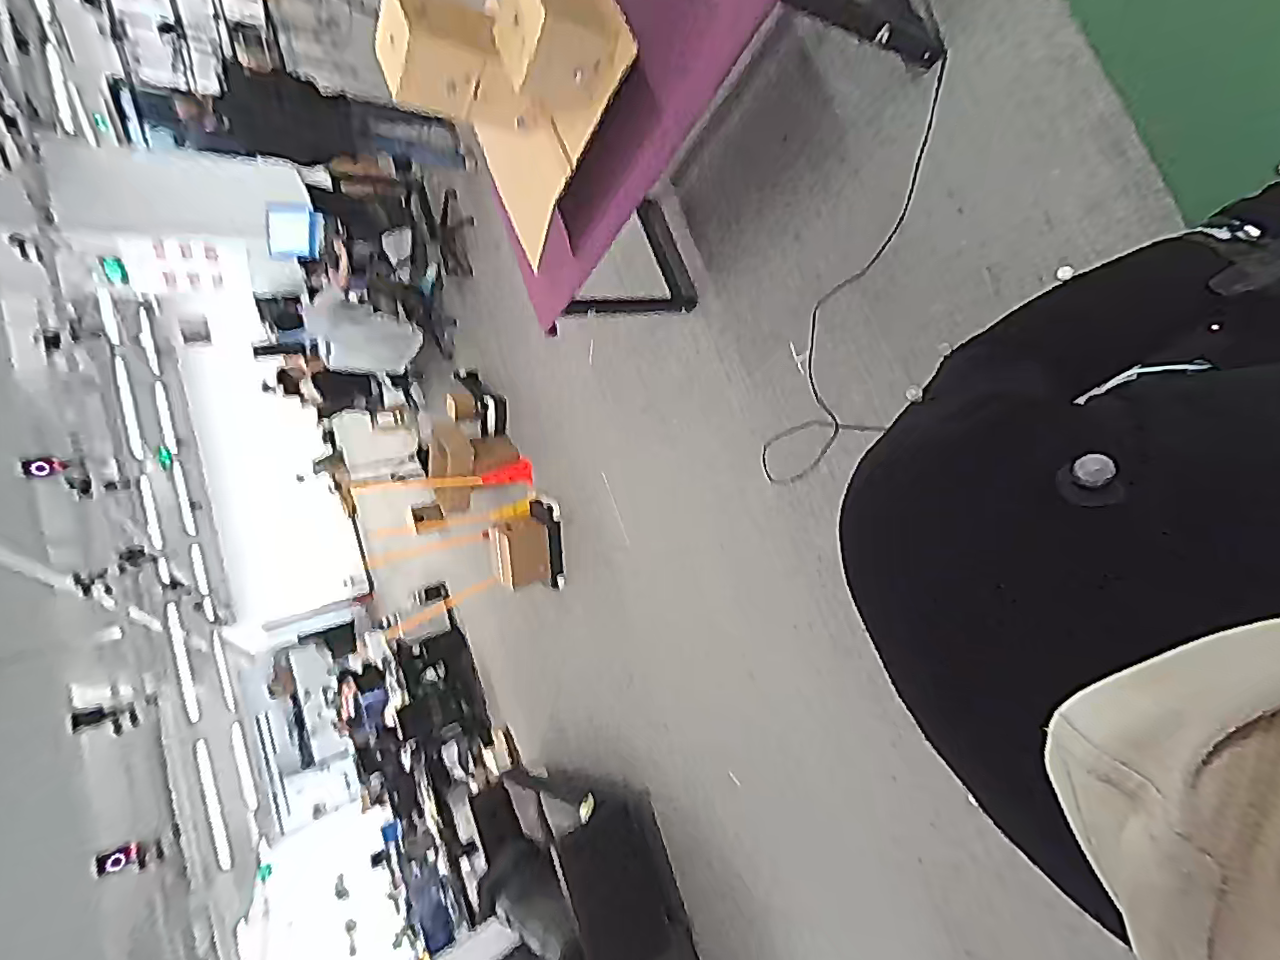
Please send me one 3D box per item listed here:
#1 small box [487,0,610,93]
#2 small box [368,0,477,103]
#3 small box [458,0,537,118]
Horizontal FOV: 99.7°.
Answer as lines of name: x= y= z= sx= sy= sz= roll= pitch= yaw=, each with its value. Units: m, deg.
small box: x=-0.190 y=-0.952 z=1.124 sx=0.168 sy=0.176 sz=0.179 roll=-34 pitch=75 yaw=51
small box: x=-0.488 y=-0.997 z=1.218 sx=0.168 sy=0.176 sz=0.179 roll=-36 pitch=74 yaw=49
small box: x=-0.360 y=-1.021 z=1.315 sx=0.168 sy=0.176 sz=0.179 roll=-35 pitch=73 yaw=50
